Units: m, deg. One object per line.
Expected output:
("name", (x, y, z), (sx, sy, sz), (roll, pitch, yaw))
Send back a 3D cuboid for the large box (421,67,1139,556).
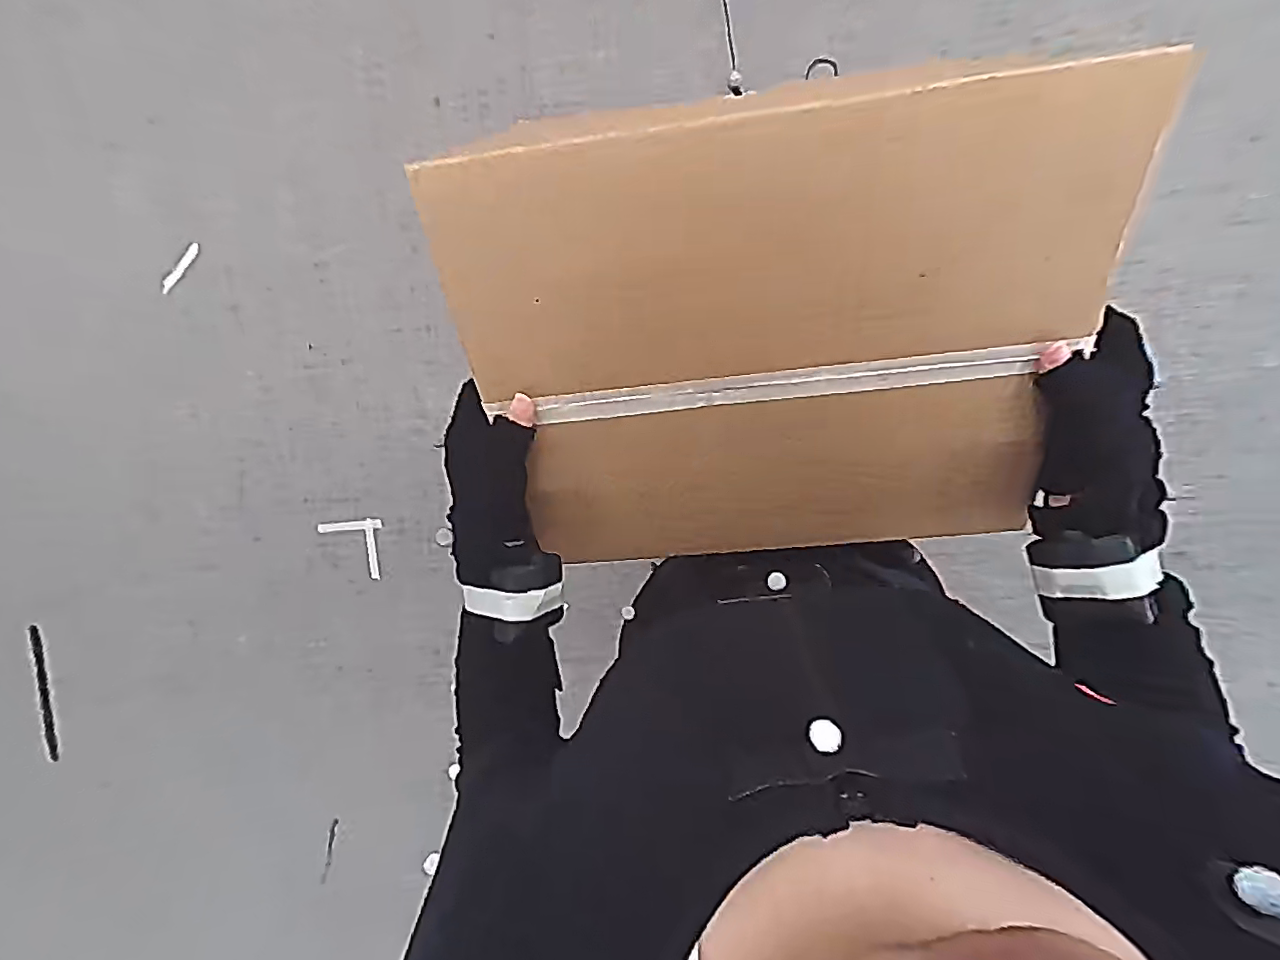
("large box", (0.090, -0.160, 0.505), (0.408, 0.320, 0.320), (-5, 126, 6))
